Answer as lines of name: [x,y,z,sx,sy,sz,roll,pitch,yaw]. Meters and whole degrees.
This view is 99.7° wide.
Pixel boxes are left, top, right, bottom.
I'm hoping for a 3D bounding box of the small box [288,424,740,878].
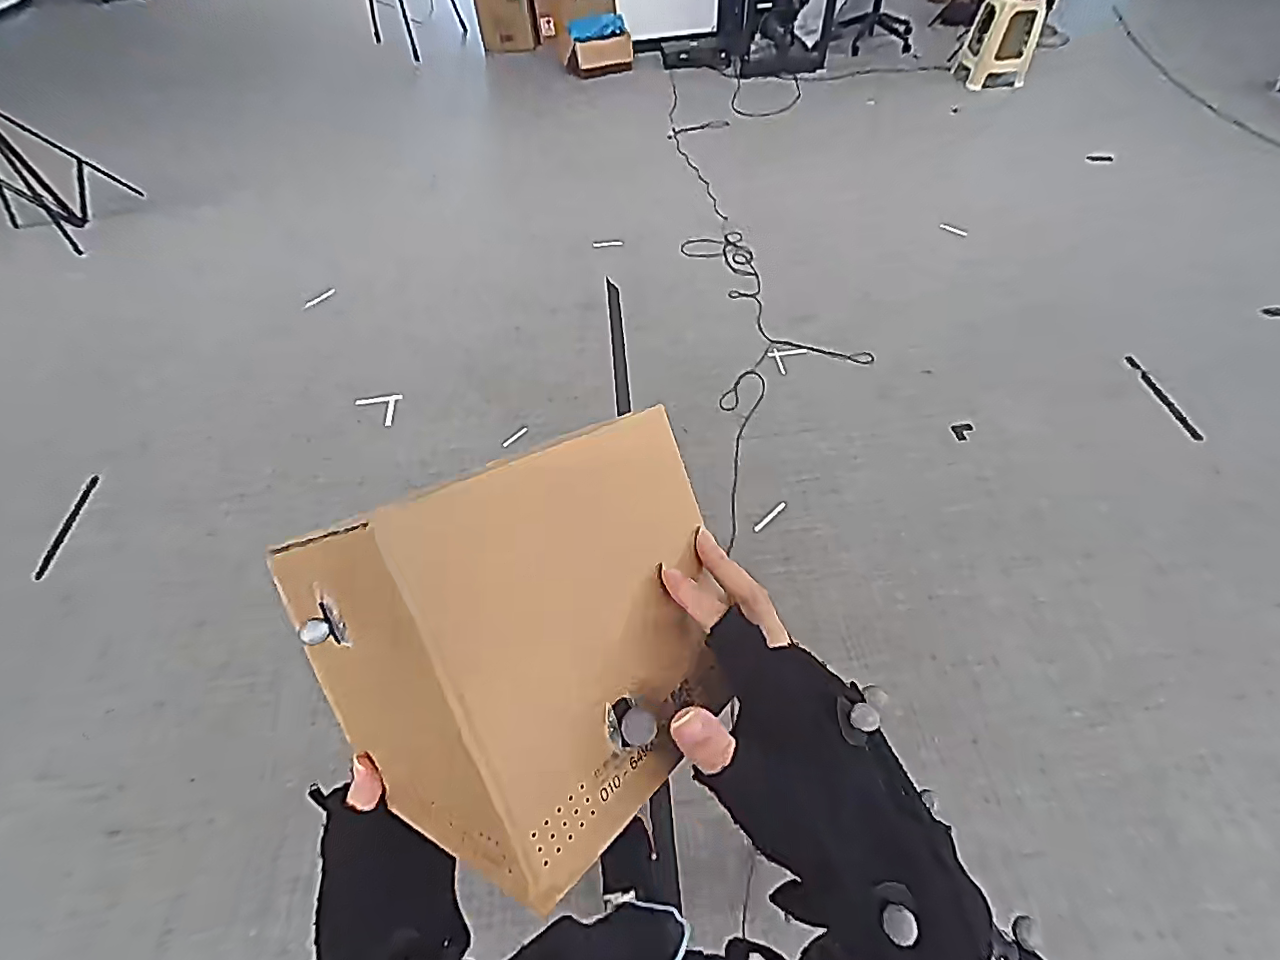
small box: [-0.071,0.083,0.324,0.179,0.176,0.168,-12,12,45]
